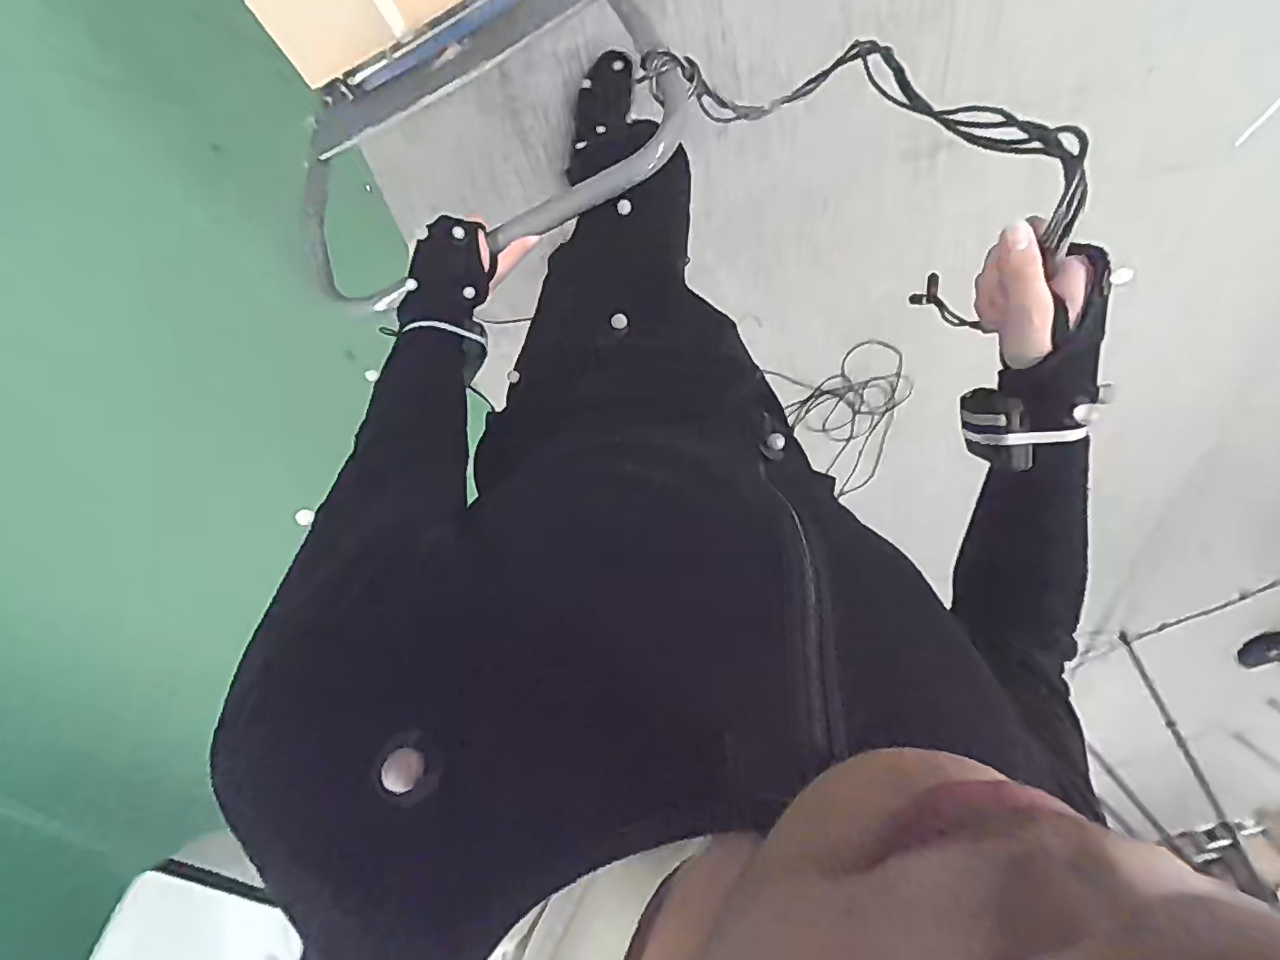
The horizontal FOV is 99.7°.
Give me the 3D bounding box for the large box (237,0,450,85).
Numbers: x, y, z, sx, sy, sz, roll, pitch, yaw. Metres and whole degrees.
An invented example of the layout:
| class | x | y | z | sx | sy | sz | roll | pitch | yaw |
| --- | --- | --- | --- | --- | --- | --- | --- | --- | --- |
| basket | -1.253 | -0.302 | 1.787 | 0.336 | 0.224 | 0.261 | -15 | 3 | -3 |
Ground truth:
| class | x | y | z | sx | sy | sz | roll | pitch | yaw |
| --- | --- | --- | --- | --- | --- | --- | --- | --- | --- |
| large box | -0.435 | -0.828 | 0.677 | 0.320 | 0.320 | 0.408 | -23 | 143 | 9 |
